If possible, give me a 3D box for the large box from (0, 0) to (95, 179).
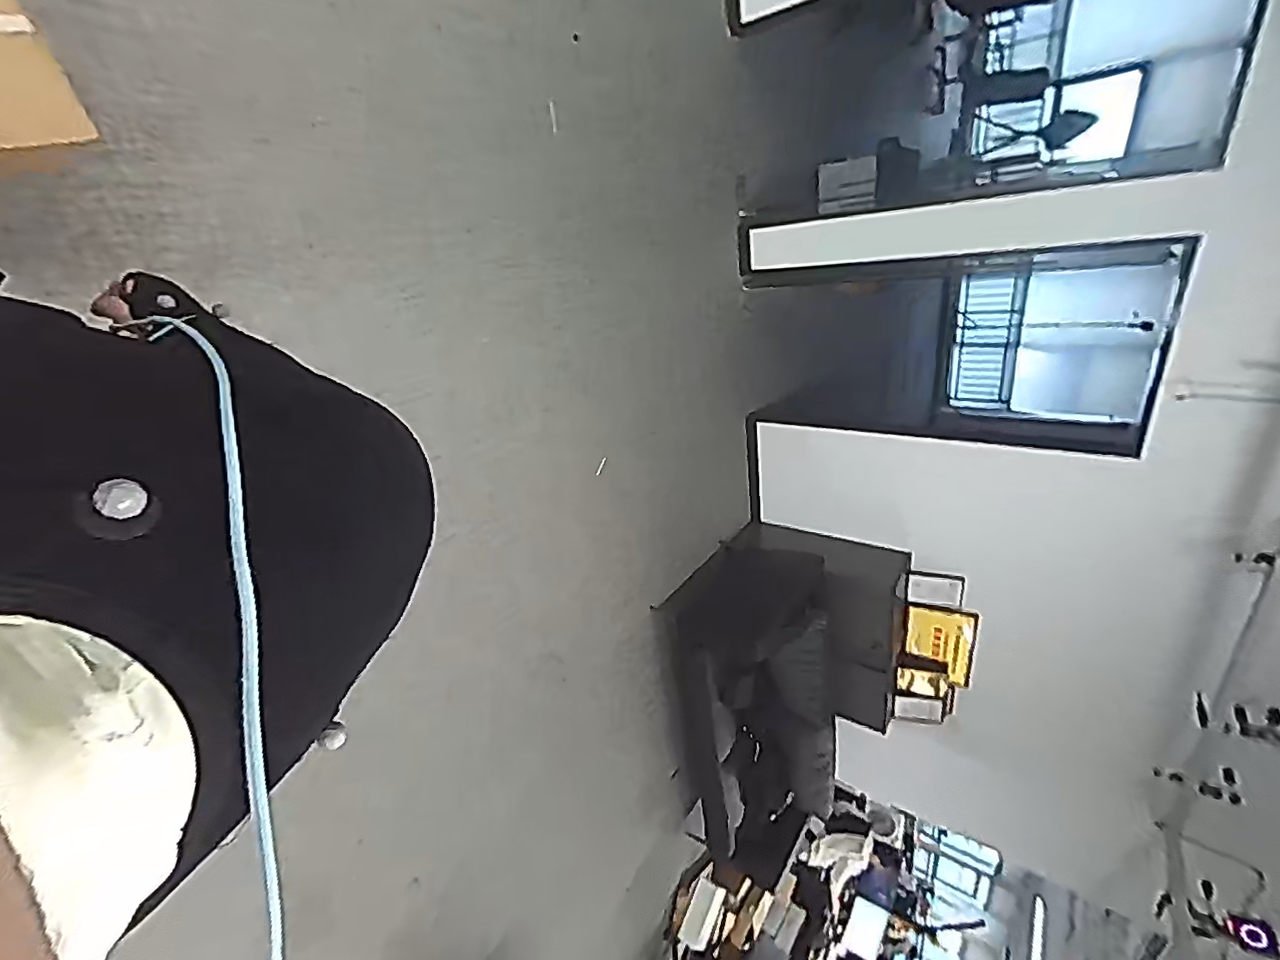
[{"bbox_3d":[-1.192,-0.633,0.812,0.408,0.320,0.320,-43,131,-40],"label":"large box"}]
